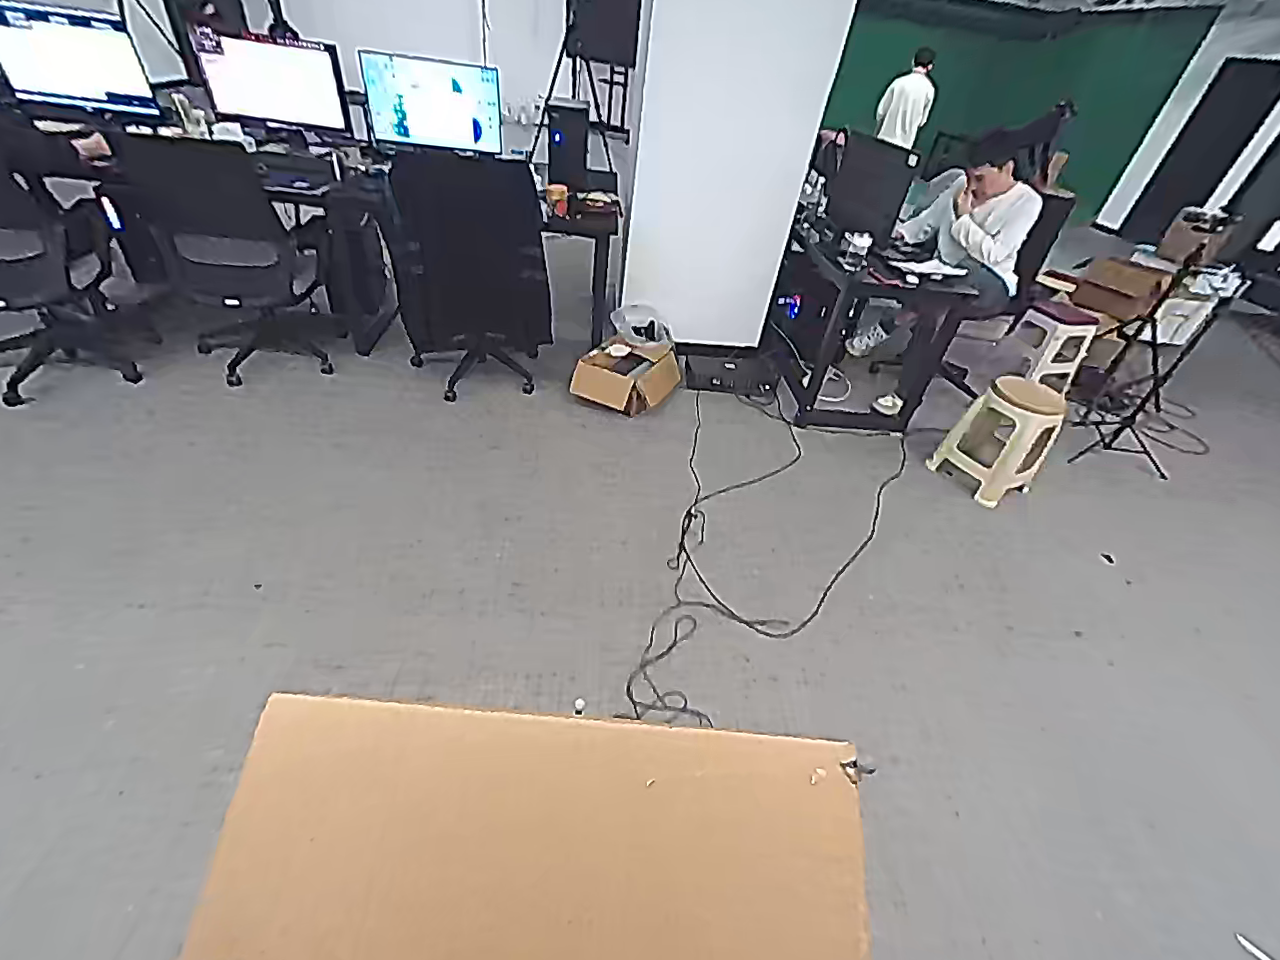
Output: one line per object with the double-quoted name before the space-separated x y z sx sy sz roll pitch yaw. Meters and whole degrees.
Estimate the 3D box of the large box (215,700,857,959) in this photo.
"large box" -0.071 0.370 0.464 0.408 0.320 0.320 5 67 -1
